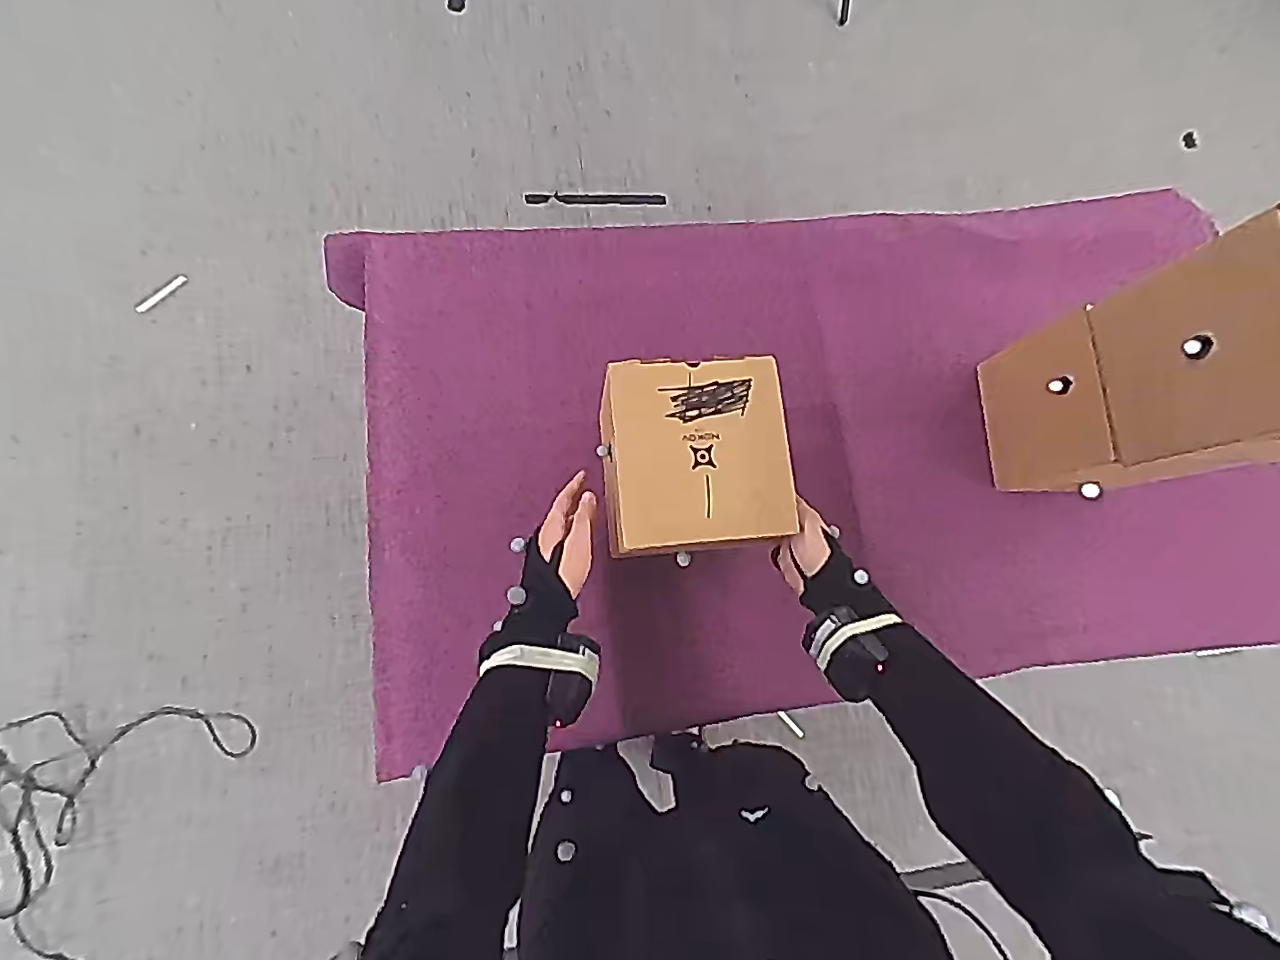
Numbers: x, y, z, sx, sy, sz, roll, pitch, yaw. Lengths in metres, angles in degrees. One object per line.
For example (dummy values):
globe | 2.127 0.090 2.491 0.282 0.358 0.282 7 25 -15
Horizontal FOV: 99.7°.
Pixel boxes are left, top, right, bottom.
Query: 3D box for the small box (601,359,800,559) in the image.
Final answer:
small box | 0.049 -0.013 0.574 0.168 0.176 0.179 -4 80 -7

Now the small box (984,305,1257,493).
small box | 0.547 -0.085 0.645 0.168 0.176 0.179 0 79 -6
